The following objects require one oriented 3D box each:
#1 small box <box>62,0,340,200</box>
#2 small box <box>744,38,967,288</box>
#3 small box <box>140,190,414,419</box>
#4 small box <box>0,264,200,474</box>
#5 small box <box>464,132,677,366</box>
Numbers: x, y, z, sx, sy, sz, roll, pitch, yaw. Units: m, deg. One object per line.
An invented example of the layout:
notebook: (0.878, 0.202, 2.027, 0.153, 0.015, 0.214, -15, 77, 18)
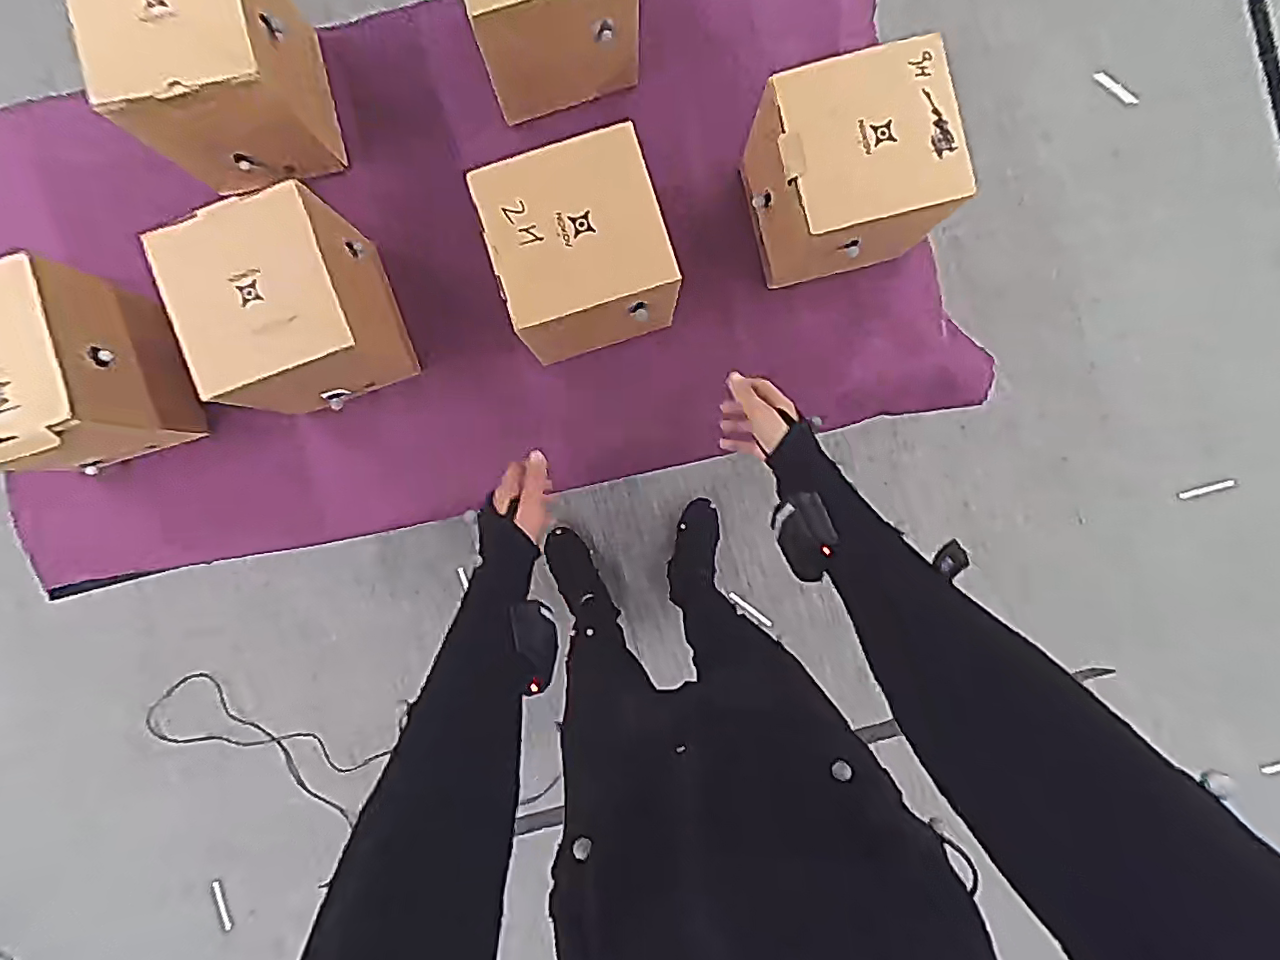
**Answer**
small box: (-0.473, -0.451, 0.604, 0.168, 0.176, 0.179, -13, 92, -1)
small box: (0.224, -0.338, 0.615, 0.179, 0.176, 0.168, -14, 92, 1)
small box: (-0.390, -0.181, 0.614, 0.168, 0.176, 0.179, -20, 91, 1)
small box: (-0.654, -0.108, 0.610, 0.168, 0.176, 0.179, -17, 90, -1)
small box: (-0.070, -0.244, 0.614, 0.179, 0.176, 0.168, -18, 90, 0)
